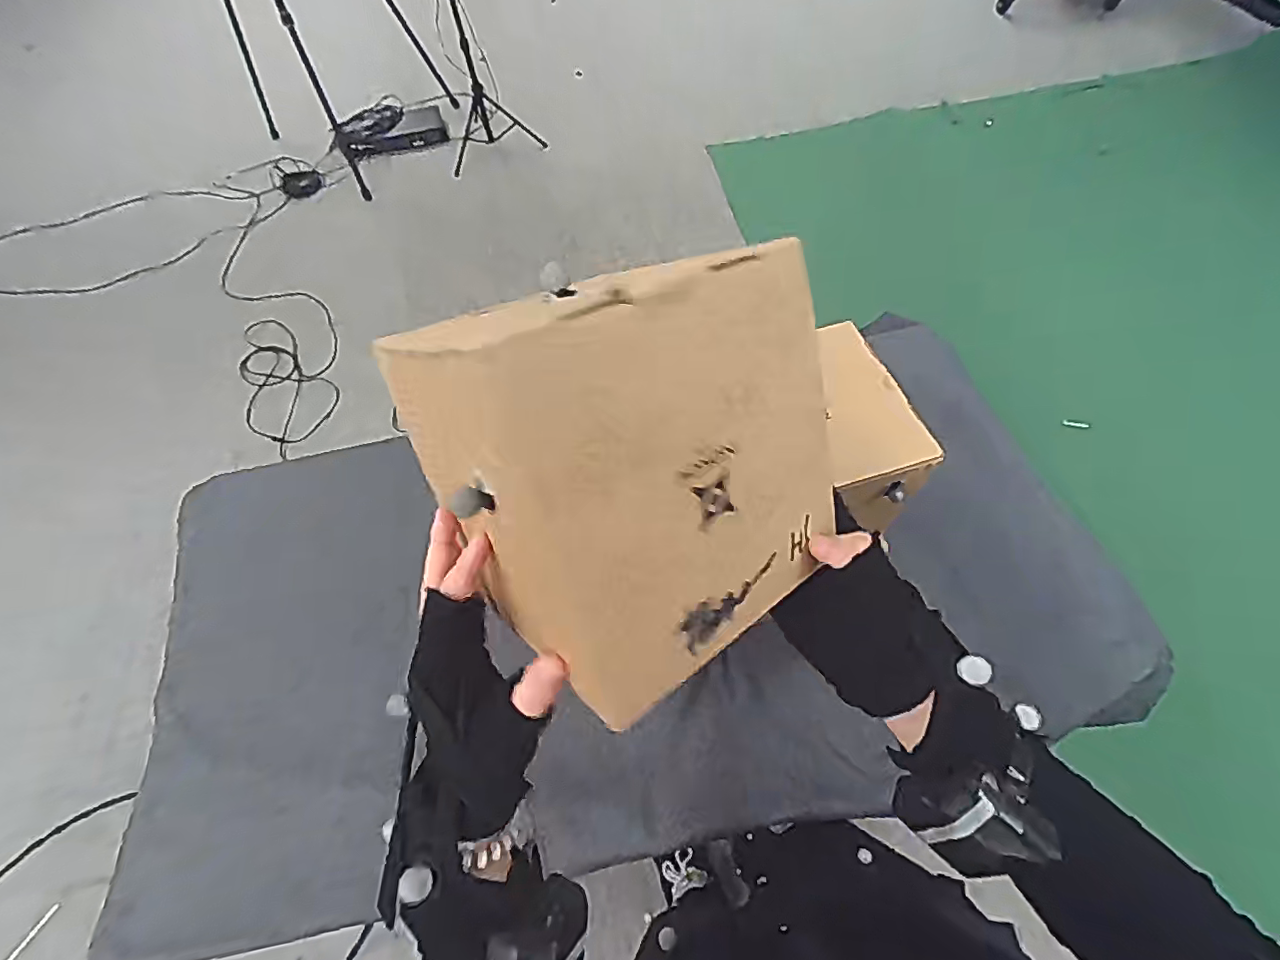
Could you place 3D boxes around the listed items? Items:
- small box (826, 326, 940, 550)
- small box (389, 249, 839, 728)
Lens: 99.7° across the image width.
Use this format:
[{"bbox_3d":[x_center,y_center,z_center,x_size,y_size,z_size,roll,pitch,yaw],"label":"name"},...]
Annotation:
[{"bbox_3d":[0.150,-0.020,0.546,0.179,0.176,0.168,-16,60,-7],"label":"small box"},{"bbox_3d":[-0.011,-0.013,0.303,0.168,0.179,0.176,-29,29,-33],"label":"small box"}]
